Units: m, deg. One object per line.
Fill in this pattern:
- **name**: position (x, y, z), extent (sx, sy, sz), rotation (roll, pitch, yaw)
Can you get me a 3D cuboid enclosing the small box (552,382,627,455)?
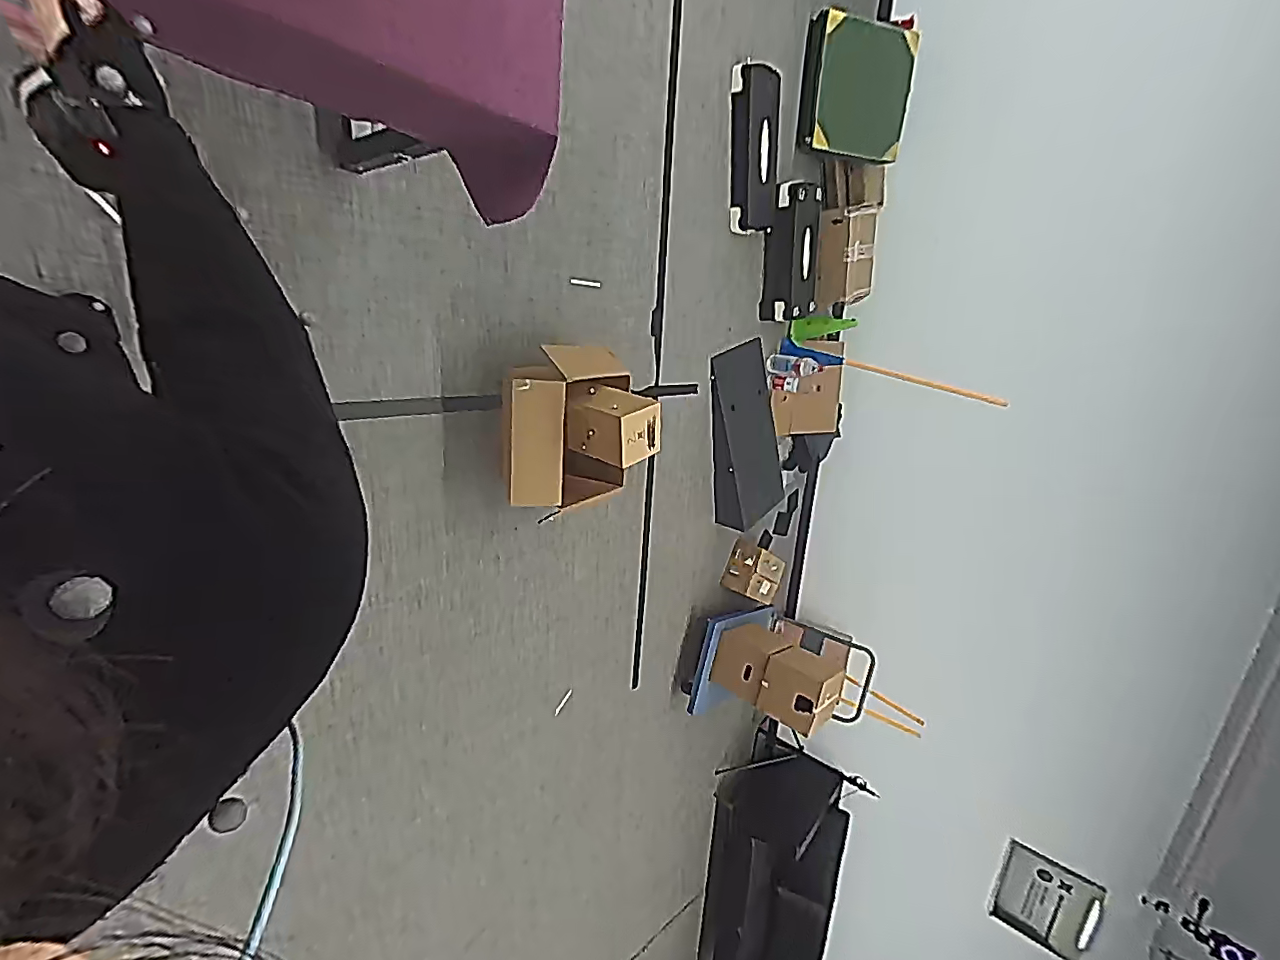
- **small box**: position (-0.167, -0.211, 1.785), extent (0.168, 0.176, 0.179), rotation (-38, 134, -35)
